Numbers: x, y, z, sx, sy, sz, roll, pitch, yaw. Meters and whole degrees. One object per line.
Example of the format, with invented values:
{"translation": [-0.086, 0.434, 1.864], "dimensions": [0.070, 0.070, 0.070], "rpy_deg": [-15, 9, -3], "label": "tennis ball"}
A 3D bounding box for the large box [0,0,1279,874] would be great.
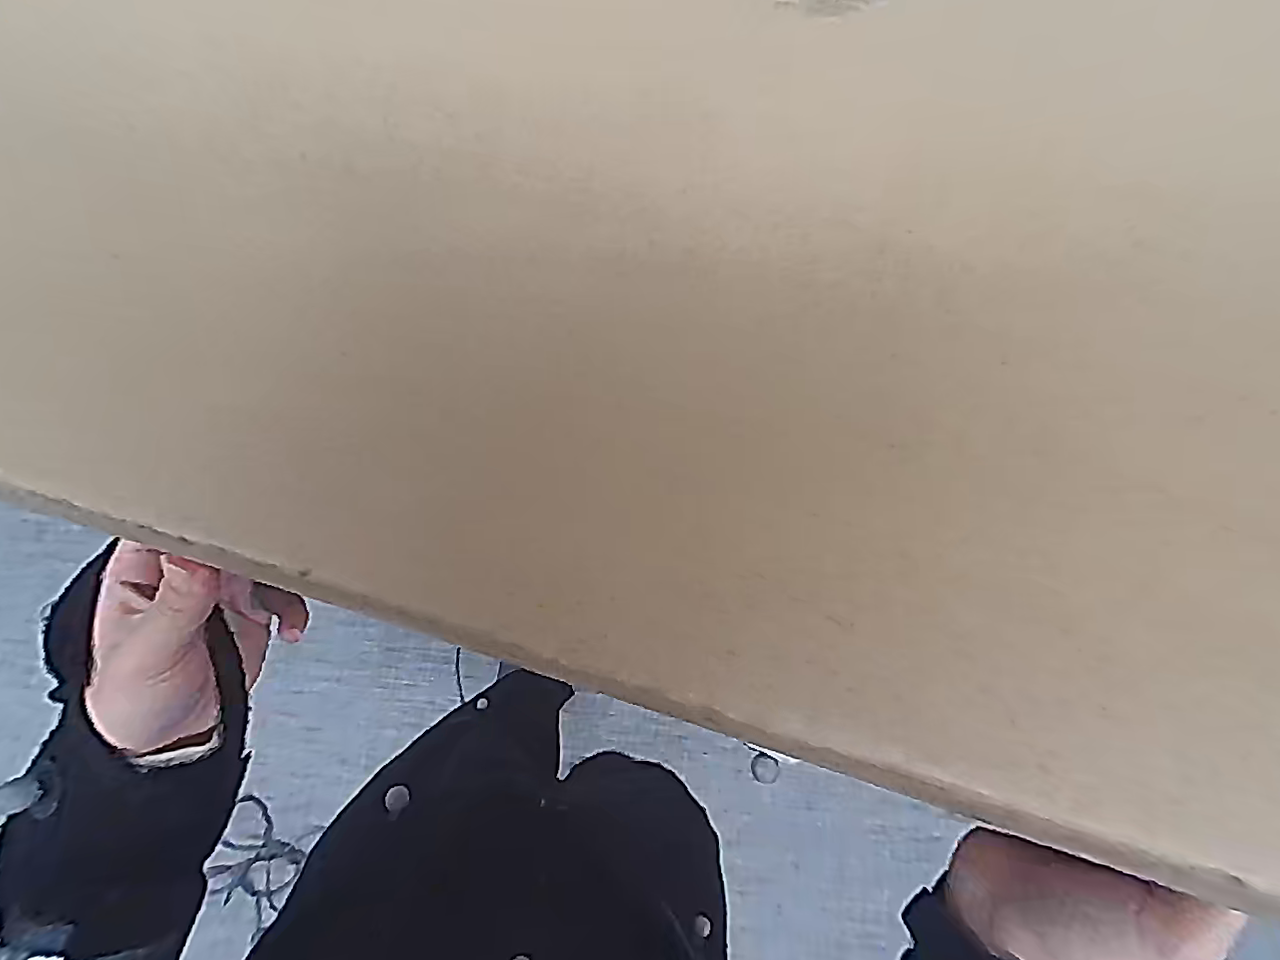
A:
{"translation": [0.042, -0.065, 0.267], "dimensions": [0.408, 0.320, 0.320], "rpy_deg": [16, 70, 6], "label": "large box"}
